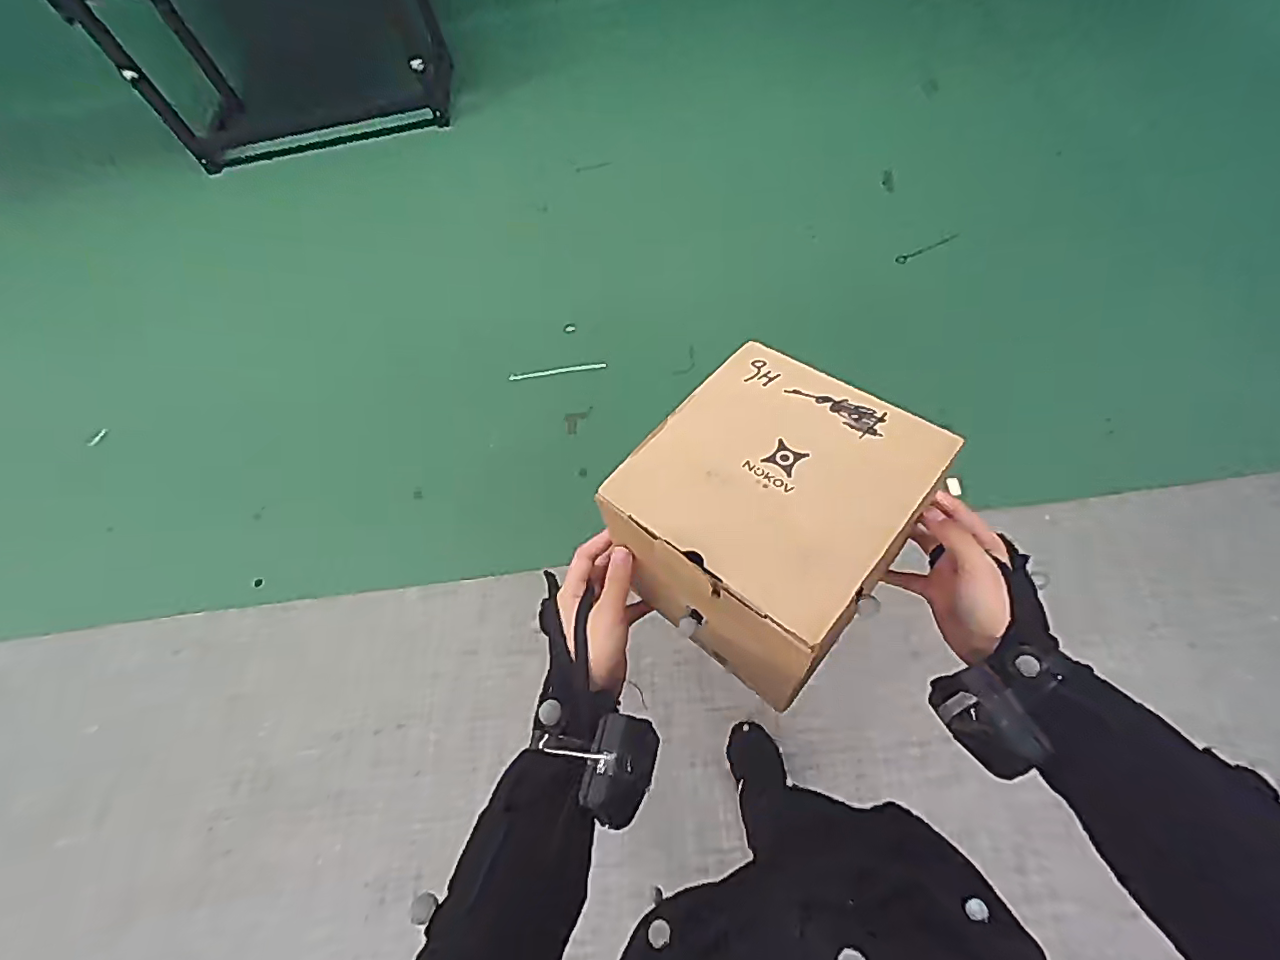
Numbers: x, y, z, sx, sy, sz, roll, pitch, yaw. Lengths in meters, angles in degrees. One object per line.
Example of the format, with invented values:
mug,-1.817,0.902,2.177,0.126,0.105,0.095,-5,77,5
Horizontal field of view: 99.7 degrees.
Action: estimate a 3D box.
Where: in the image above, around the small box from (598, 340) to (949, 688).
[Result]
small box,0.098,0.032,0.424,0.168,0.176,0.179,35,69,27
